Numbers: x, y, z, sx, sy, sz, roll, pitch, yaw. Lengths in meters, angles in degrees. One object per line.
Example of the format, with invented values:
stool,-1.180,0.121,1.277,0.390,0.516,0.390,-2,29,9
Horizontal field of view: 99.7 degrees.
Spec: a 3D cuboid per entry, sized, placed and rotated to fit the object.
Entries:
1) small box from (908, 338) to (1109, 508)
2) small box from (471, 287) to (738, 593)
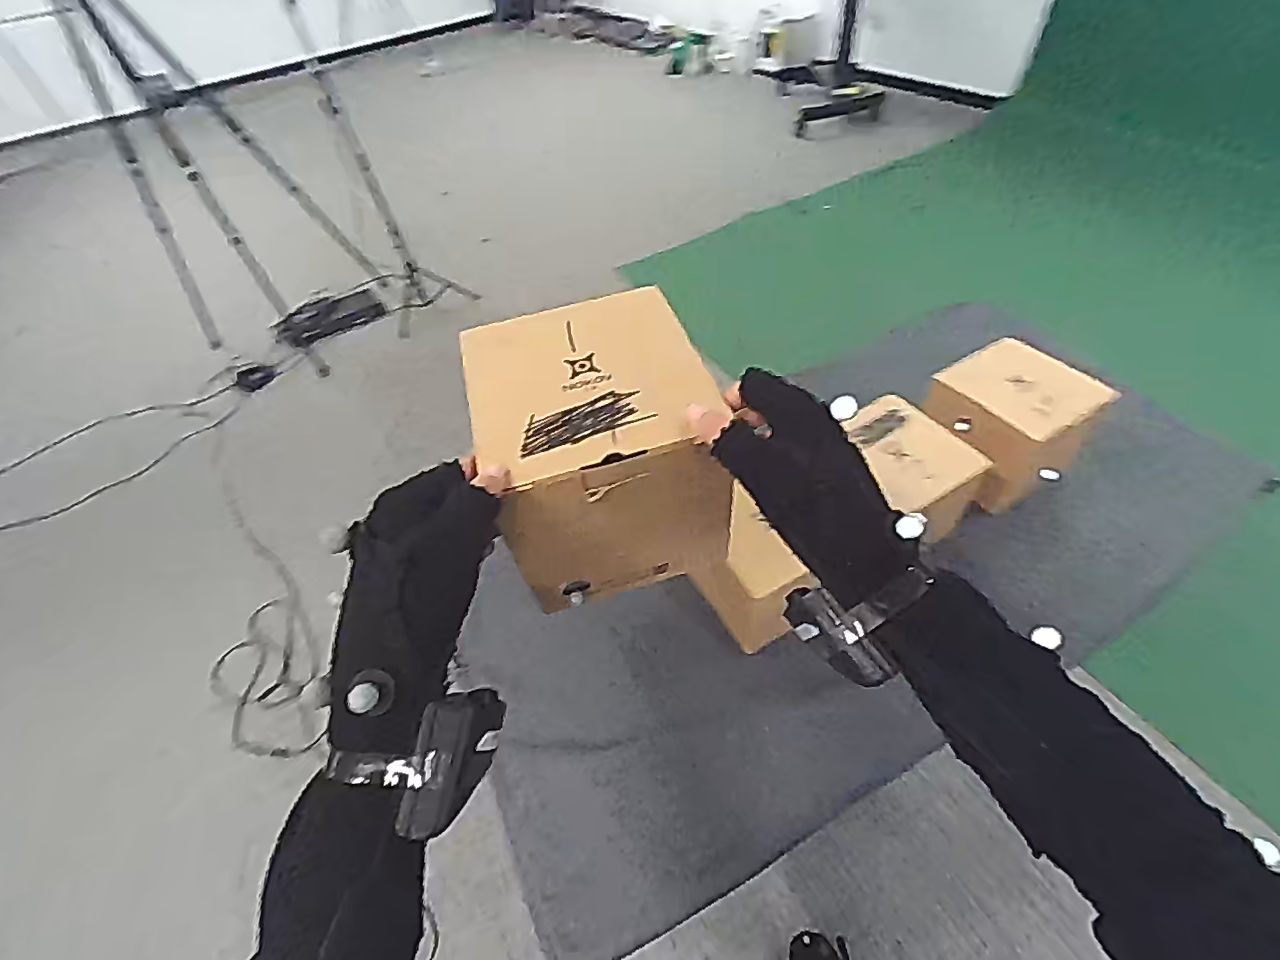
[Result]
small box,0.564,-0.089,0.859,0.168,0.176,0.179,-27,51,-14
small box,-0.027,-0.025,0.450,0.168,0.176,0.179,-15,51,-6
